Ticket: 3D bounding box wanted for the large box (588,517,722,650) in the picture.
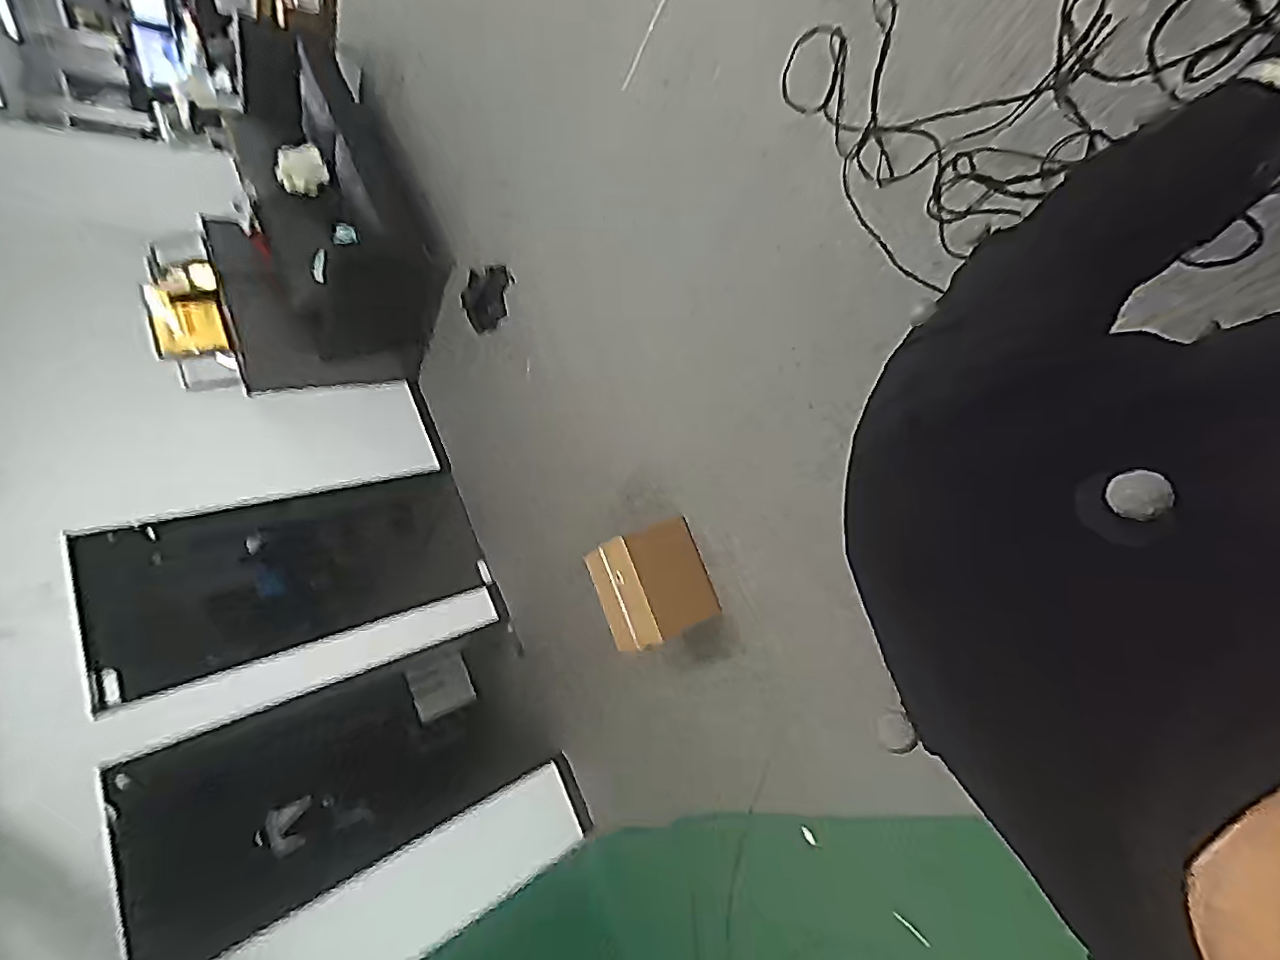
[{"bbox_3d":[0.054,0.401,2.107,0.320,0.320,0.408,-35,72,50],"label":"large box"}]
